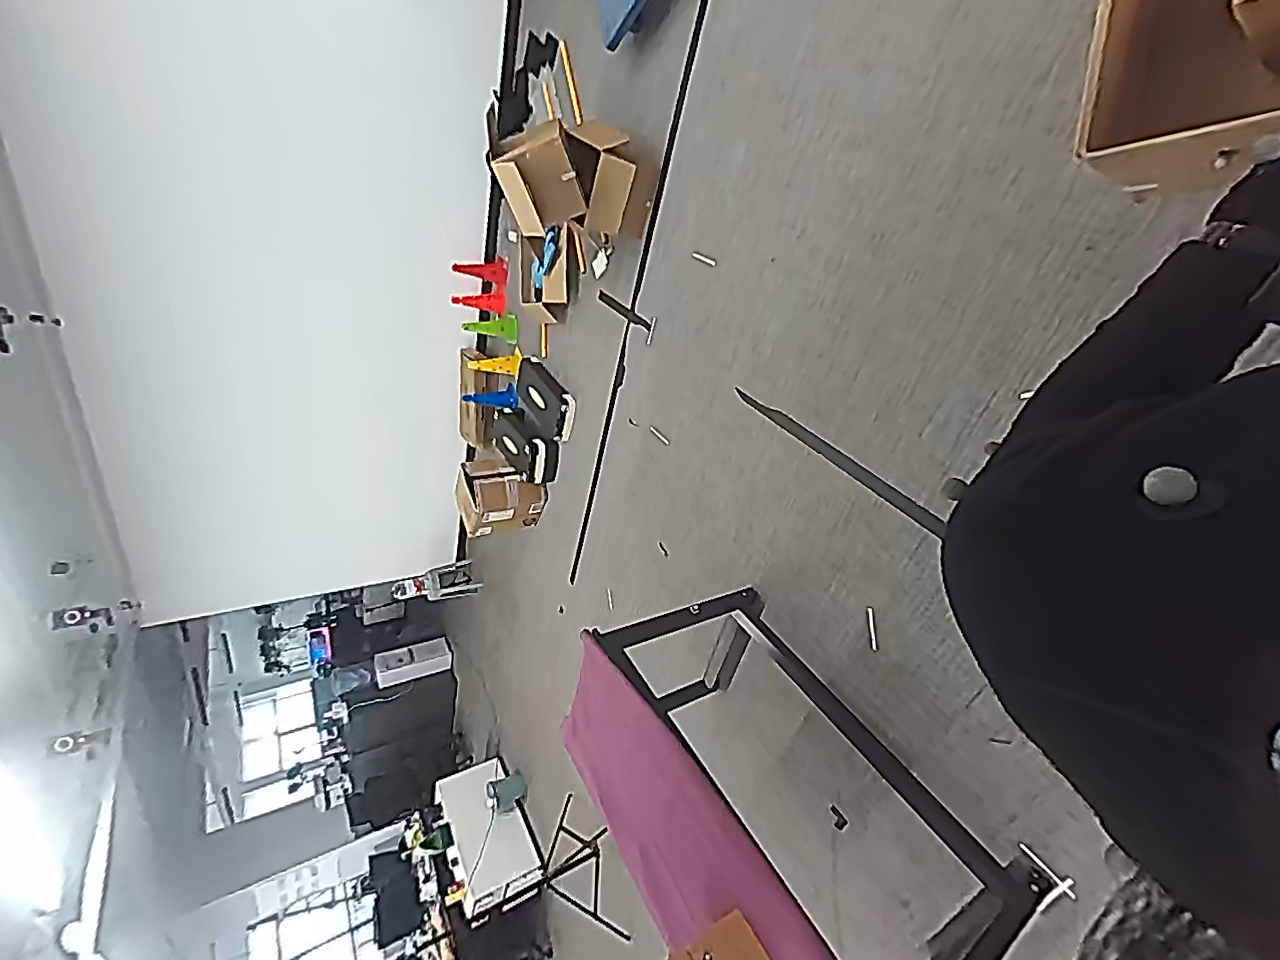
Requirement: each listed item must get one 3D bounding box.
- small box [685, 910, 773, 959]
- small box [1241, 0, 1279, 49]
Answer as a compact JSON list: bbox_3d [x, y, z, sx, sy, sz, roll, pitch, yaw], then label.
[{"bbox_3d":[0.207,1.137,1.221,0.179,0.176,0.168,43,129,44],"label":"small box"},{"bbox_3d":[0.631,-0.485,0.422,0.179,0.176,0.168,21,114,53],"label":"small box"}]
